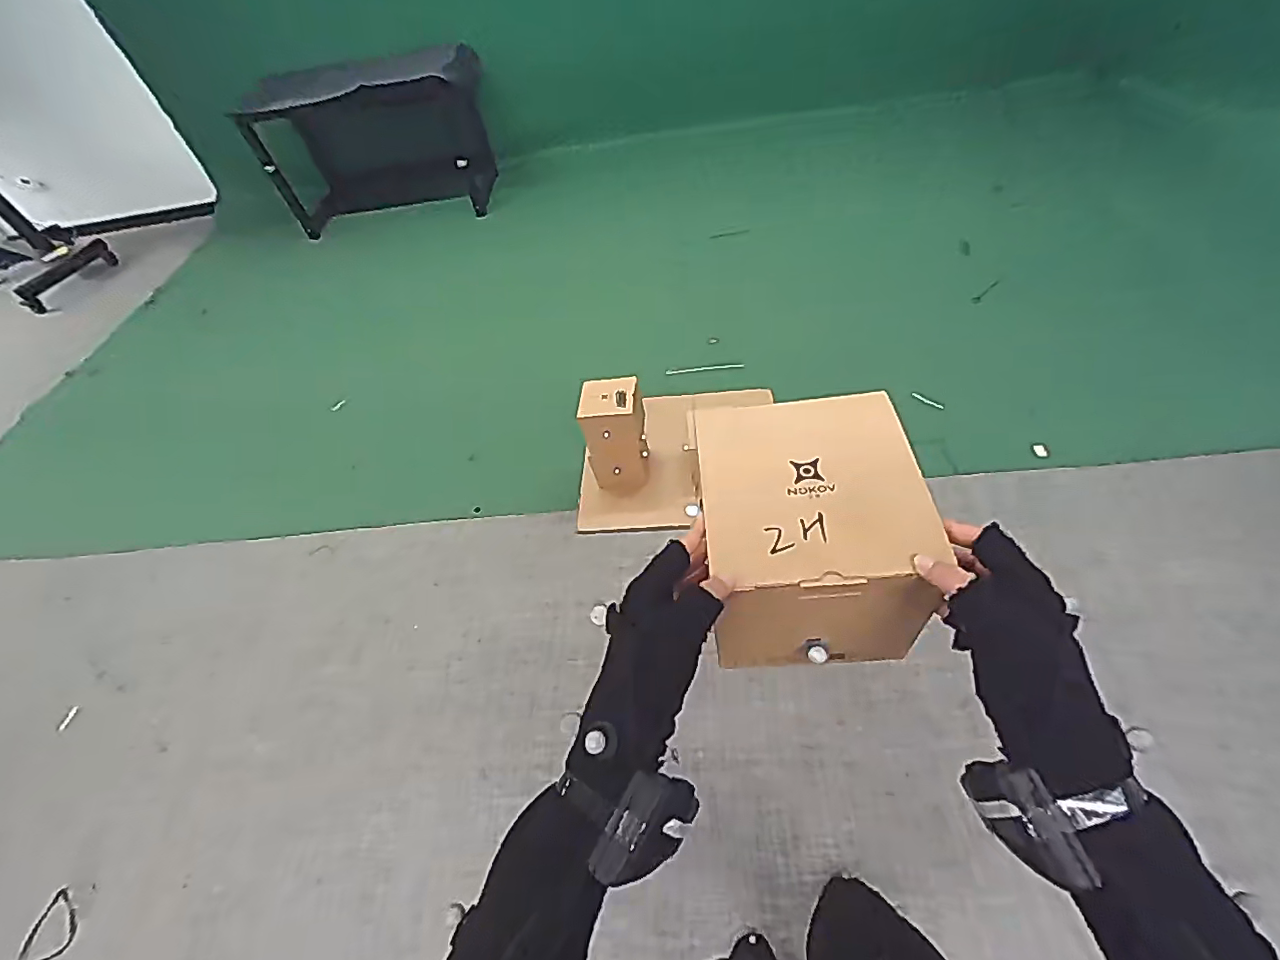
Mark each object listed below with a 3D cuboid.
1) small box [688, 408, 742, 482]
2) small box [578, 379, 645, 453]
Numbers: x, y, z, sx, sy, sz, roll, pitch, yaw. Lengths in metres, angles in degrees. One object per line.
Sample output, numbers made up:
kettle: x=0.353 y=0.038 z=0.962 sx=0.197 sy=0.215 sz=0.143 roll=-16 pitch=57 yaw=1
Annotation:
small box: x=0.250 y=-0.115 z=1.807 sx=0.168 sy=0.176 sz=0.179 roll=-5 pitch=51 yaw=7
small box: x=-0.083 y=-0.201 z=1.723 sx=0.179 sy=0.176 sz=0.168 roll=-3 pitch=51 yaw=11
